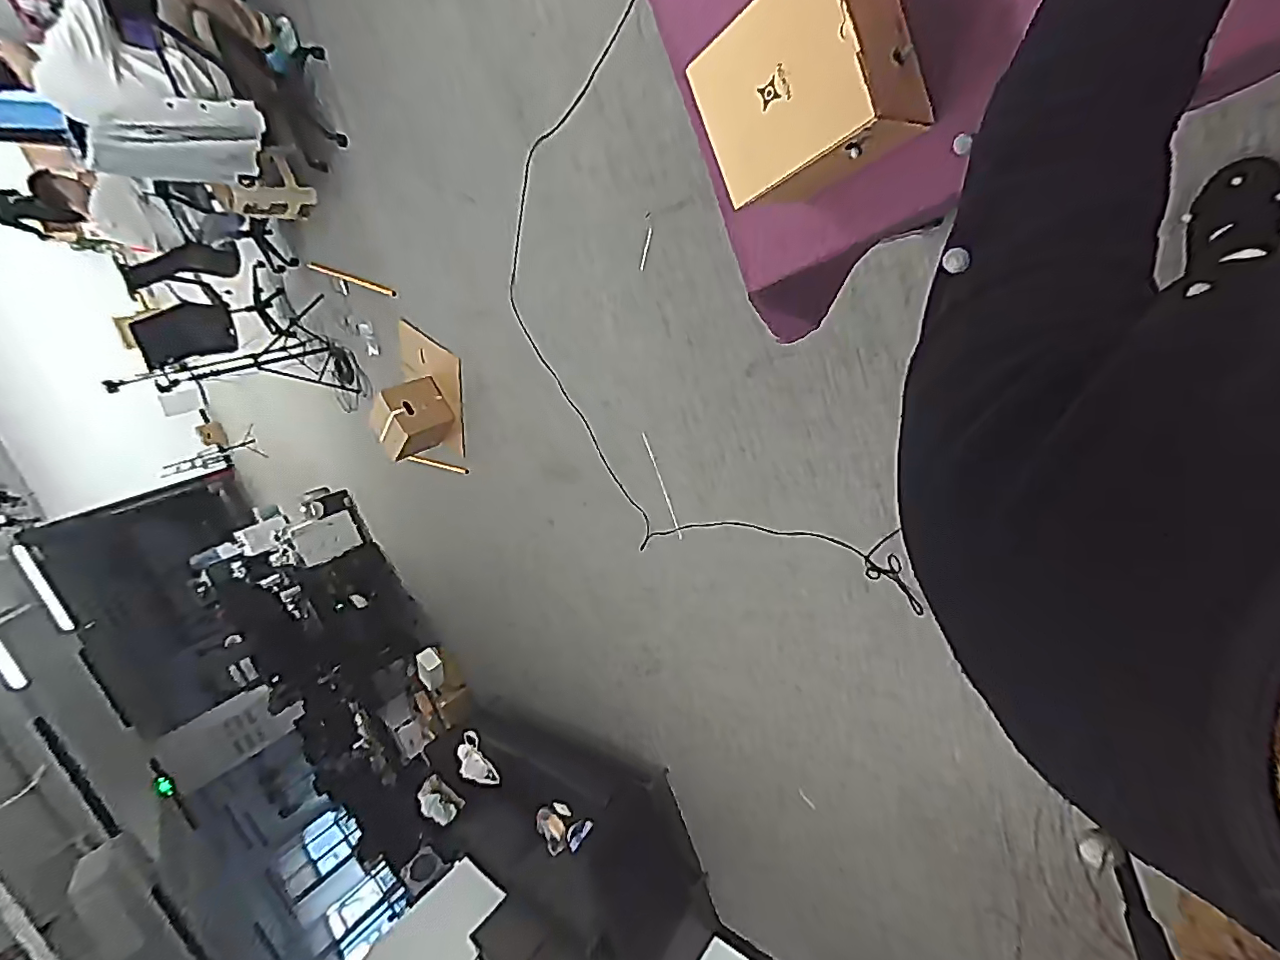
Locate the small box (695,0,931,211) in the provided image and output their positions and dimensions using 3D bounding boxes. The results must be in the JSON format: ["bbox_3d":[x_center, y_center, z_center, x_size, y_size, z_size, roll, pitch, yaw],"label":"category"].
[{"bbox_3d":[0.200,-0.433,0.624,0.179,0.176,0.168,-13,101,48],"label":"small box"}]
